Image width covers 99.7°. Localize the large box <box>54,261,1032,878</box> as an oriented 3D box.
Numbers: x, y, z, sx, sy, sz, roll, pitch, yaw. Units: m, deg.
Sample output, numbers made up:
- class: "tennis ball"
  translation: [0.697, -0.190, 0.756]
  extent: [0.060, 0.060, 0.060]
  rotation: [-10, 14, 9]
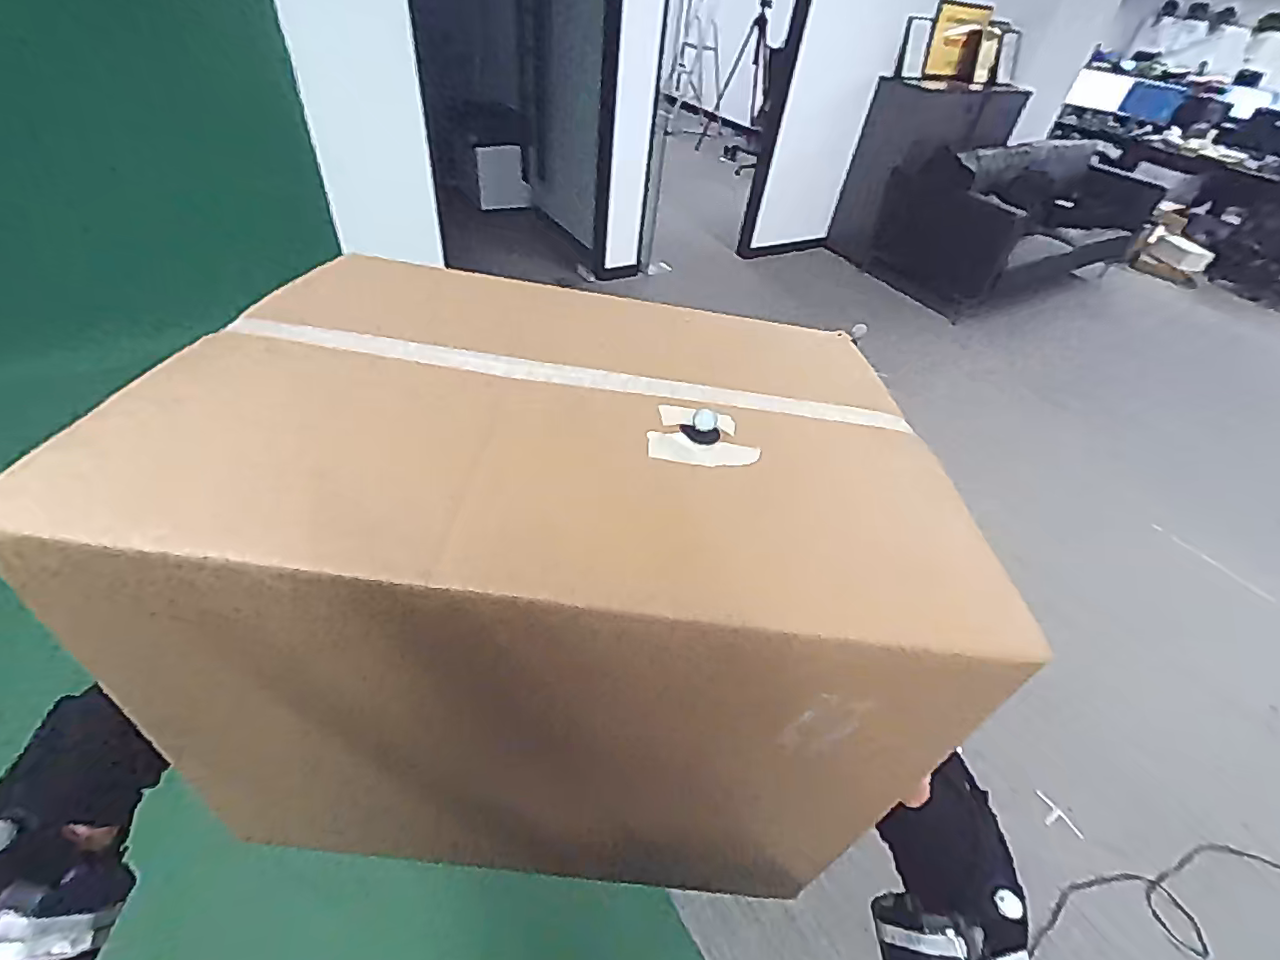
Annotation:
- class: "large box"
  translation: [-0.046, 0.063, 0.422]
  extent: [0.408, 0.320, 0.320]
  rotation: [10, 39, -3]
